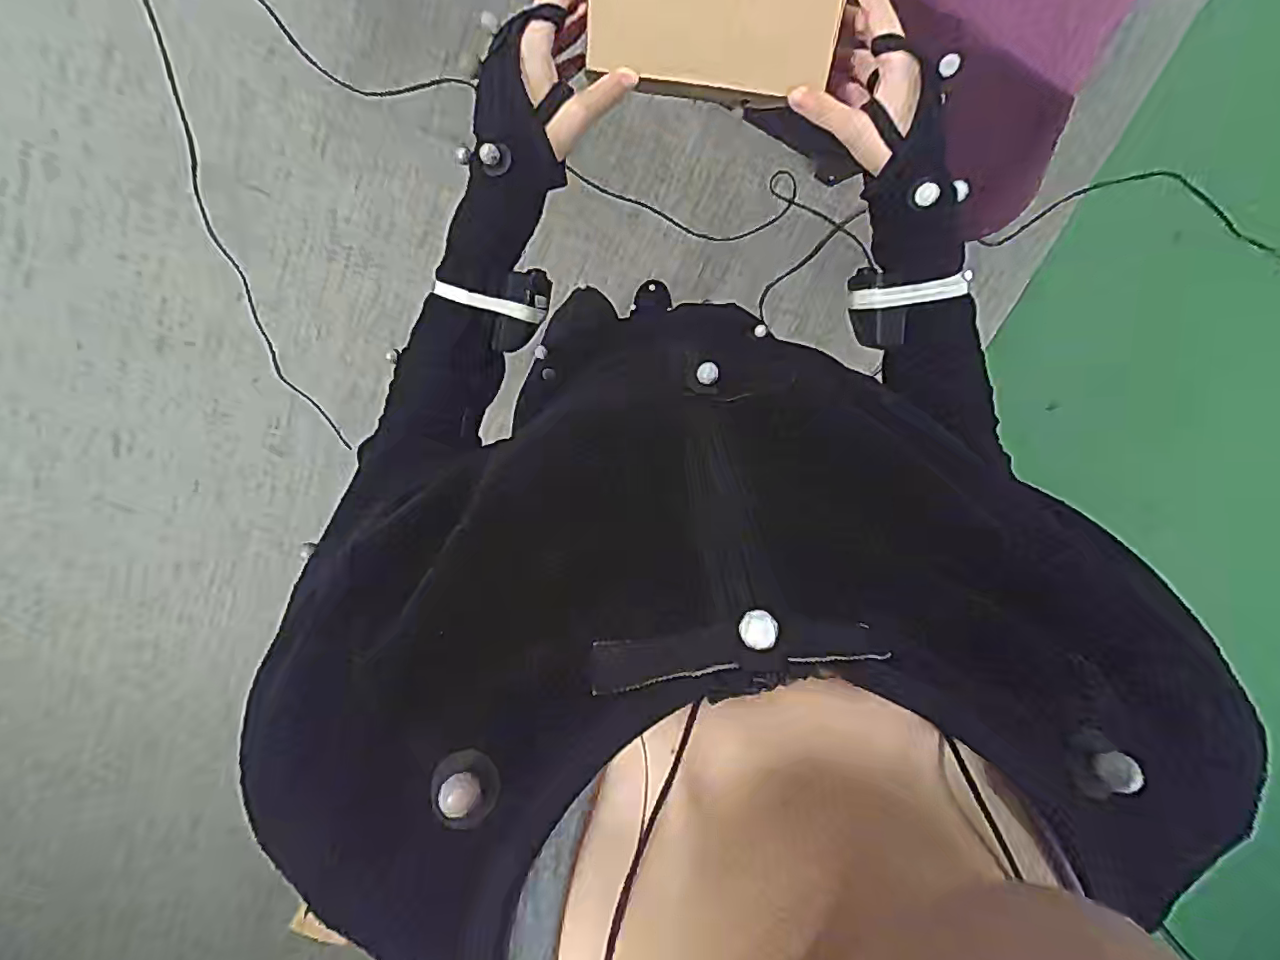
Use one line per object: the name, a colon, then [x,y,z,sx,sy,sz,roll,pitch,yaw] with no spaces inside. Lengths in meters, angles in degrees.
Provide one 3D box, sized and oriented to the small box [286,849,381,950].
small box: [-0.940,1.294,1.676,0.179,0.176,0.168,32,104,-14]
